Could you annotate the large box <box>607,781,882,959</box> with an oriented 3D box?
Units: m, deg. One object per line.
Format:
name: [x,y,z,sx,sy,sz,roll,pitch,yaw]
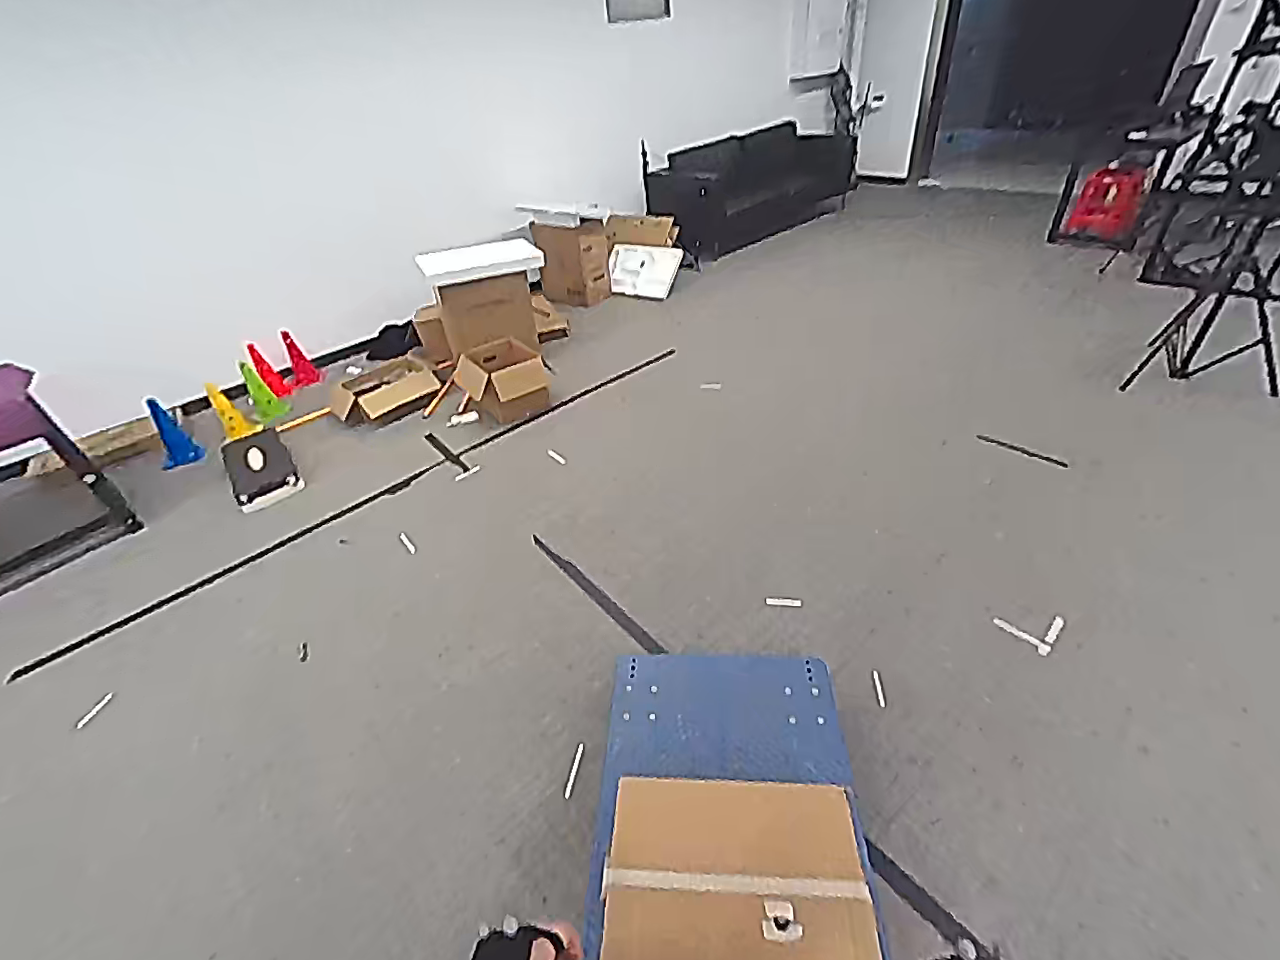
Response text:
large box: [0.164,0.761,0.945,0.408,0.320,0.320,-1,38,6]
